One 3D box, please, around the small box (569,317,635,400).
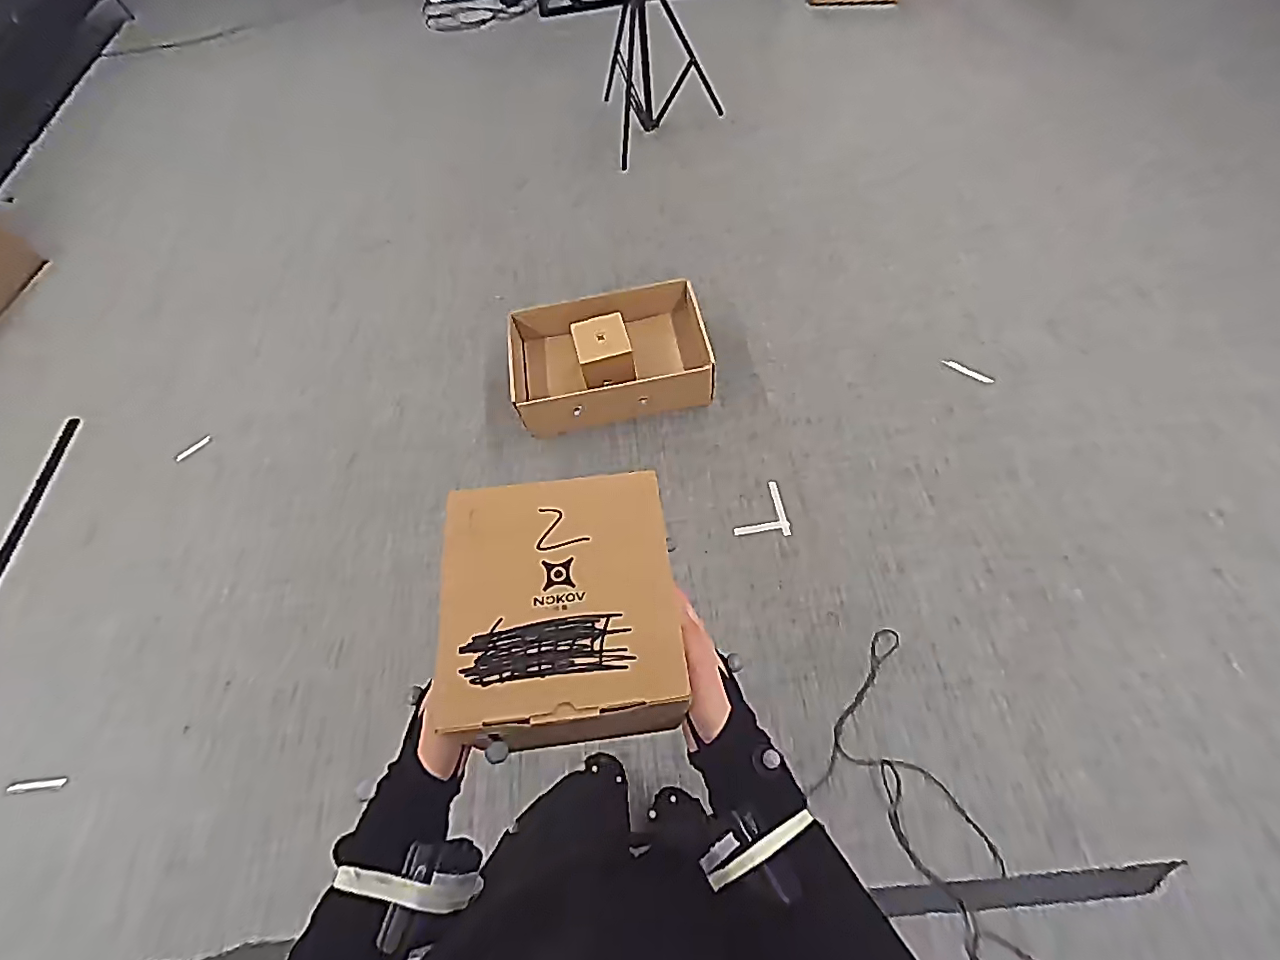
[{"bbox_3d":[-0.119,-0.389,1.740,0.168,0.176,0.179,-16,61,-2],"label":"small box"}]
